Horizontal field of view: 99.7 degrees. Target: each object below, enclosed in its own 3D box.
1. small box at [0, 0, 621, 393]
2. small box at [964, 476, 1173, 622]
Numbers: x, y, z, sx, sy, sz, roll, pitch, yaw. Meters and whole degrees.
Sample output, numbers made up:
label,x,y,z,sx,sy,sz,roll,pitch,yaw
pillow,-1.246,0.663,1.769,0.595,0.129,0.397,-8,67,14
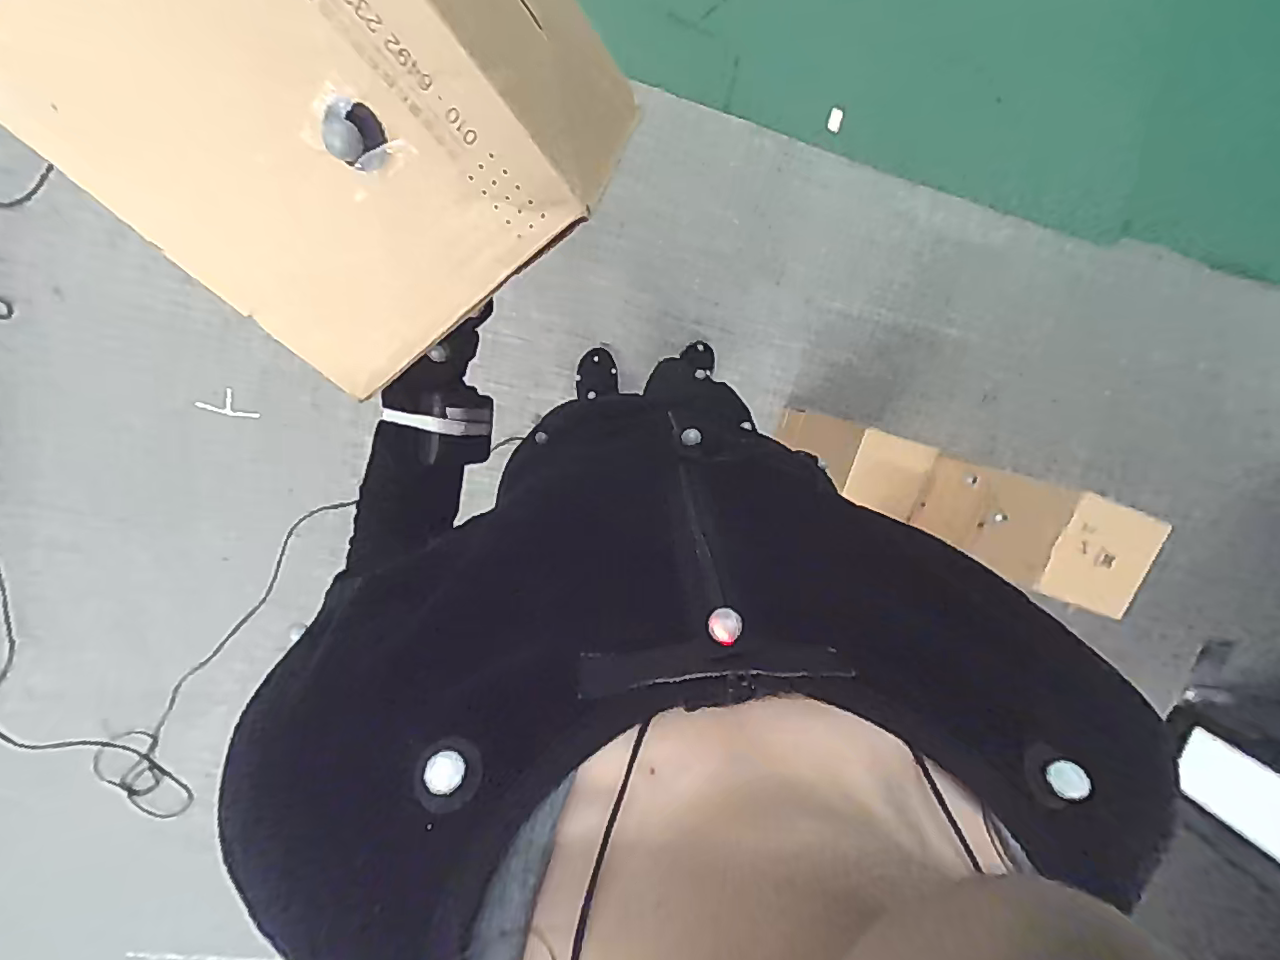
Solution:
label,x,y,z,sx,sy,sz,roll,pitch,yaw
small box,-0.125,-0.182,0.262,0.176,0.179,0.168,-27,124,30
small box,0.694,0.105,0.896,0.179,0.176,0.168,19,99,-10
